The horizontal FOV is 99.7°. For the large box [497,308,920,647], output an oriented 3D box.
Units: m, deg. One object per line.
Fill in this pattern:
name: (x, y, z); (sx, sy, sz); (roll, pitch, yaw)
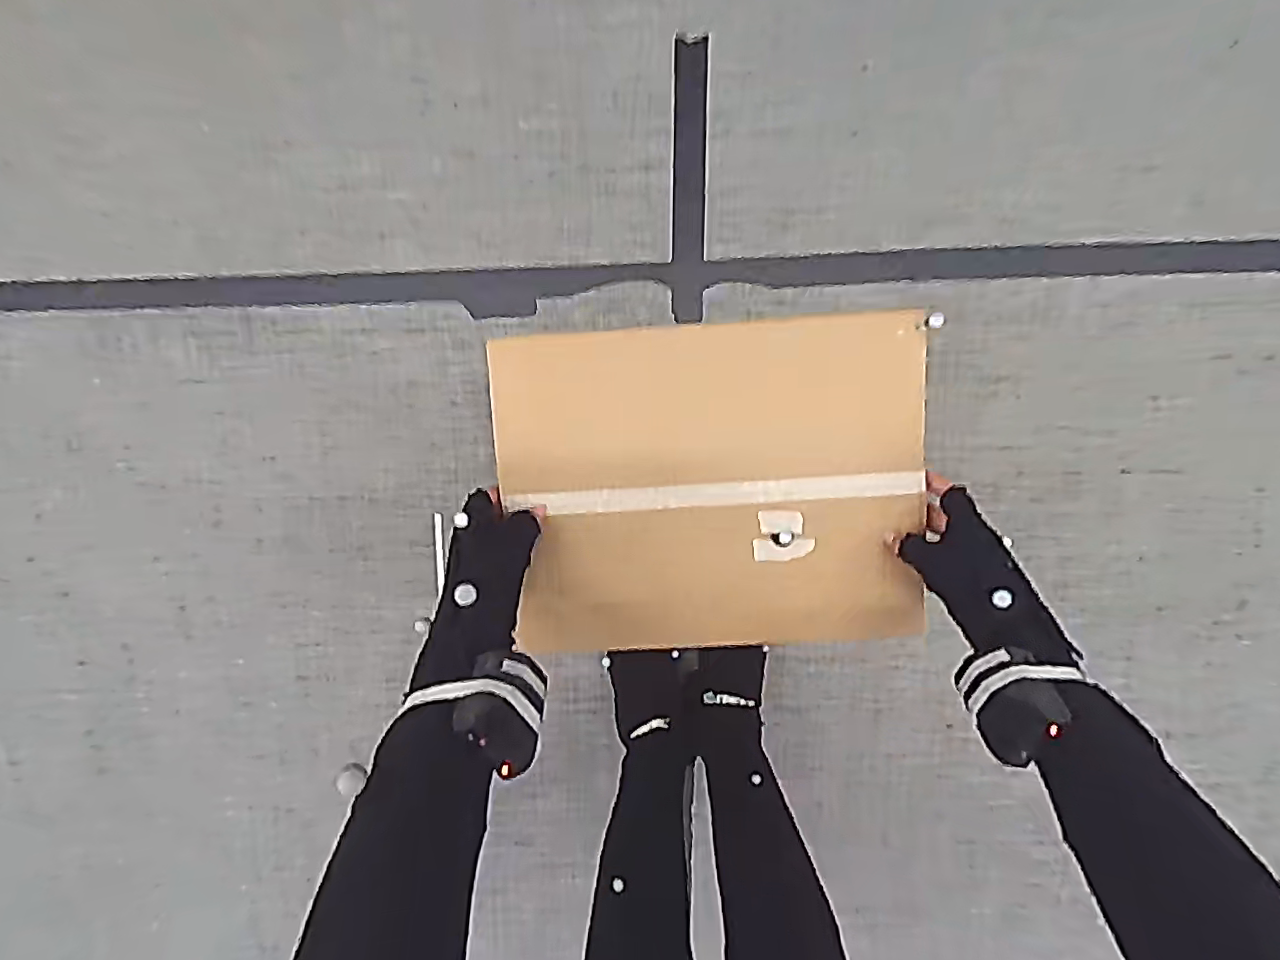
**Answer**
large box: (0.074, -0.015, 0.677); (0.408, 0.320, 0.320); (-4, 99, 1)
